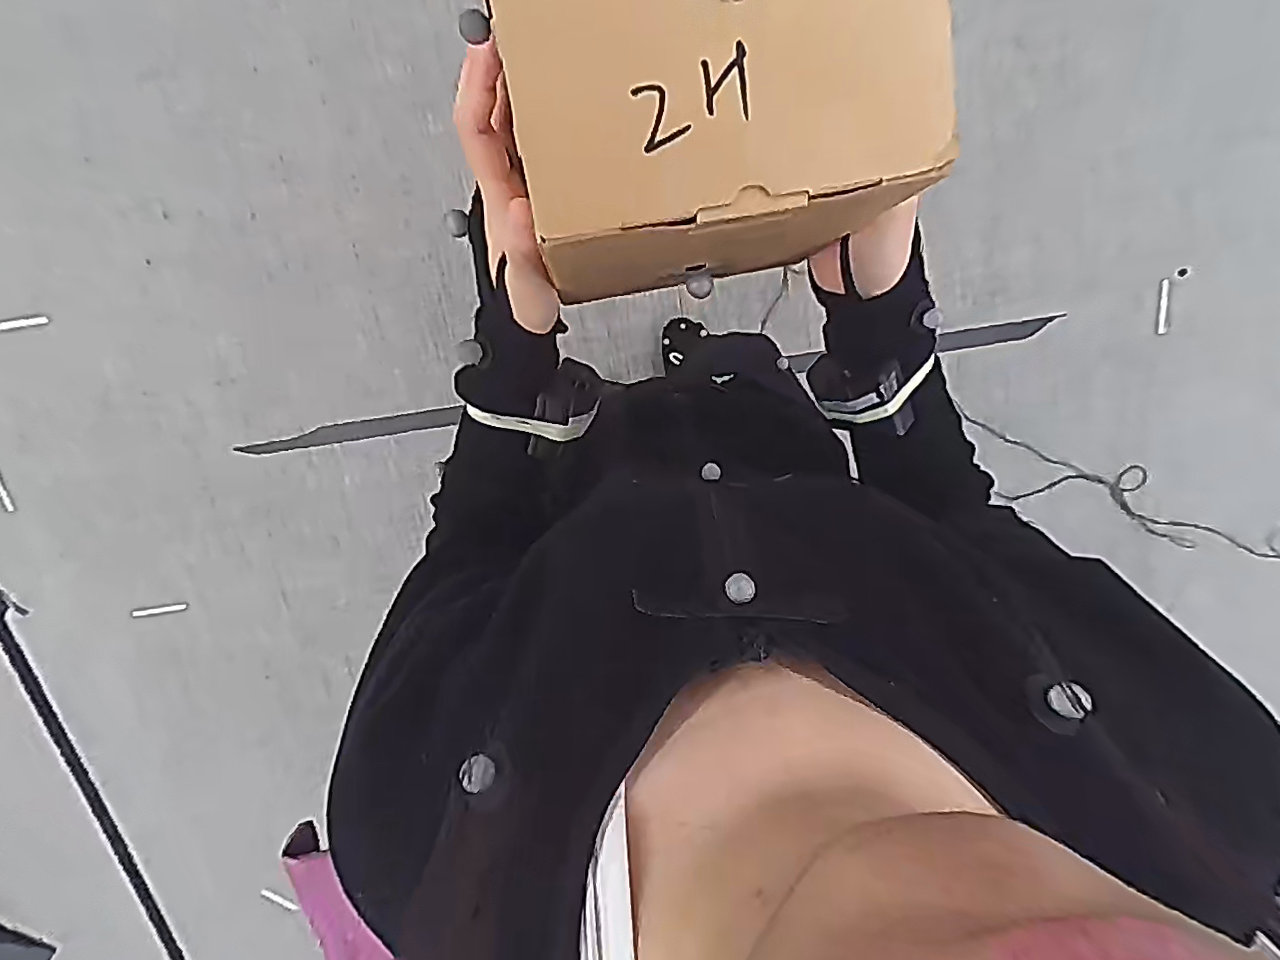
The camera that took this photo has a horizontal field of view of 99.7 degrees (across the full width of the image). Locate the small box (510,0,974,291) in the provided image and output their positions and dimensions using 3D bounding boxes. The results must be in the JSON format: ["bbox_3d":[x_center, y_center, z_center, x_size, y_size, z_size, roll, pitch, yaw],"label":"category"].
[{"bbox_3d":[0.026,-0.207,0.266,0.168,0.176,0.179,-11,101,-3],"label":"small box"}]
